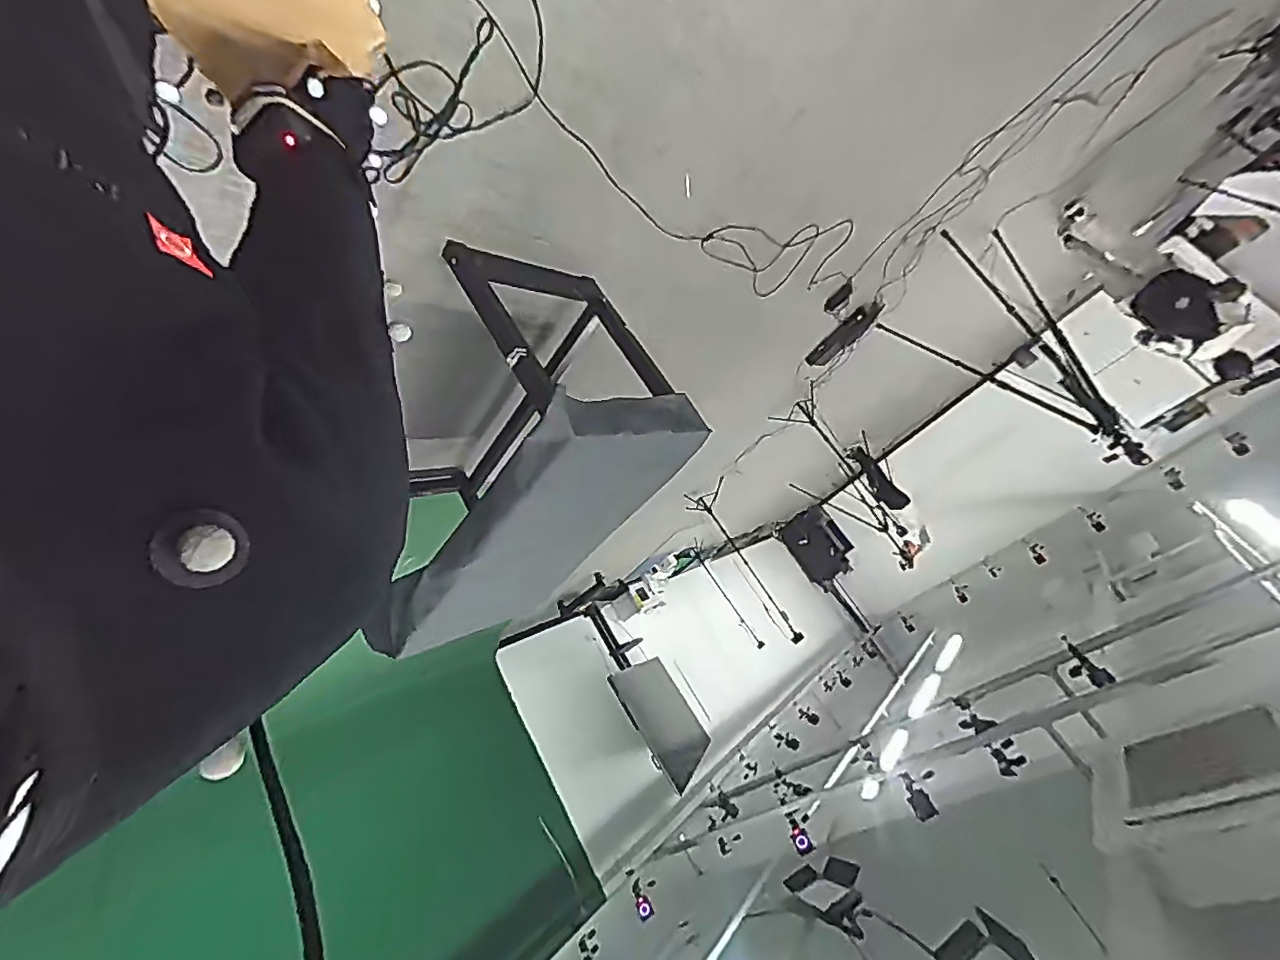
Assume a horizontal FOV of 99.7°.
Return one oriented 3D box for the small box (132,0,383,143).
[{"bbox_3d":[-0.394,-0.473,0.543,0.168,0.179,0.176,-39,128,-8],"label":"small box"}]
